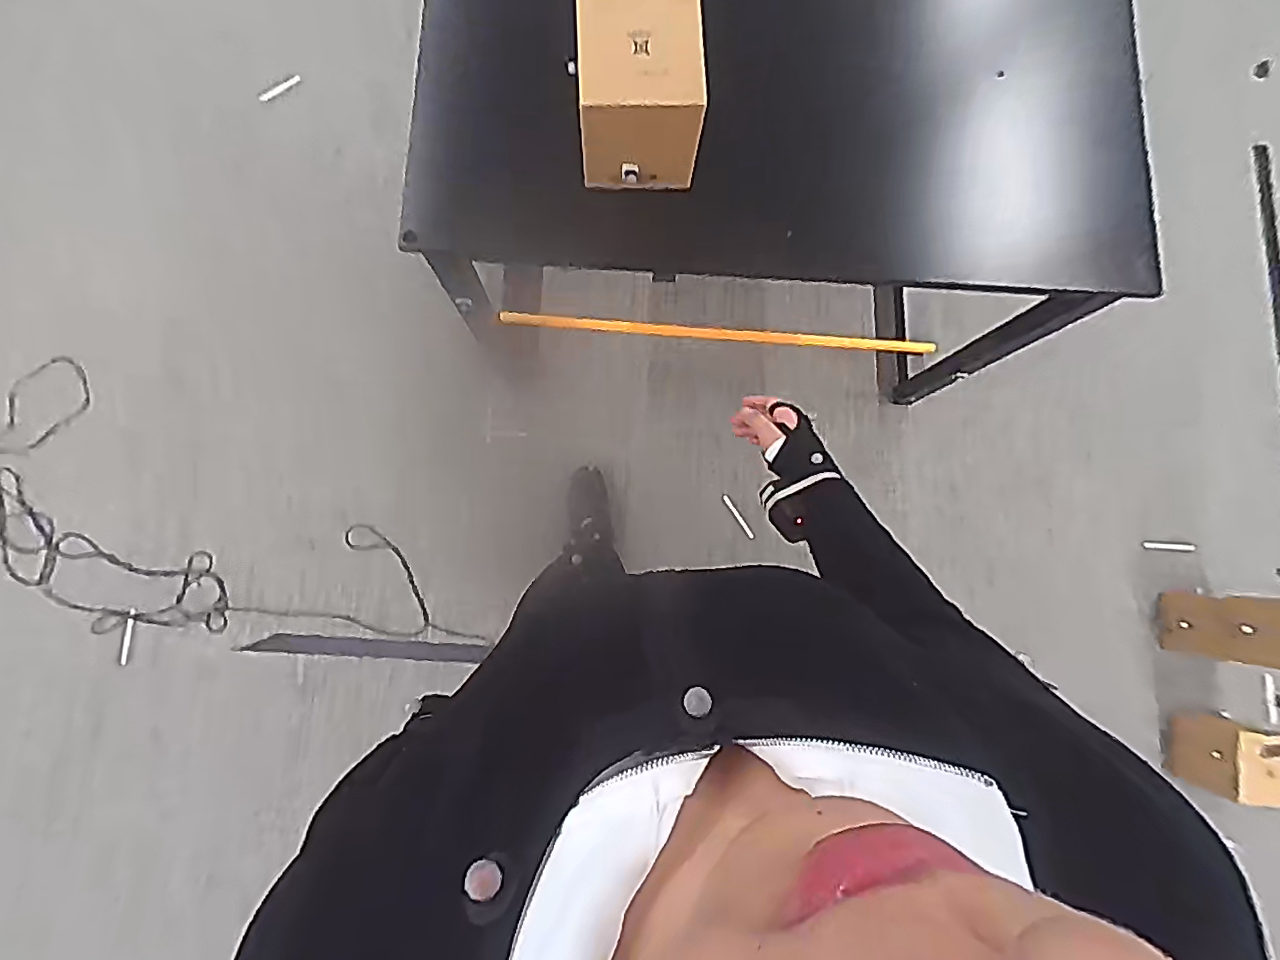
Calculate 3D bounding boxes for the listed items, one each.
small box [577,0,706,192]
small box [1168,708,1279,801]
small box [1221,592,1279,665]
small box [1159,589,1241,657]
[{"bbox_3d":[-0.004,-0.550,0.780,0.168,0.176,0.179,-3,83,-3],"label":"small box"},{"bbox_3d":[1.559,0.720,1.434,0.168,0.176,0.179,6,83,-2],"label":"small box"},{"bbox_3d":[1.584,0.368,1.312,0.179,0.176,0.168,8,82,-2],"label":"small box"},{"bbox_3d":[1.572,0.388,1.476,0.179,0.176,0.168,2,82,-2],"label":"small box"}]
